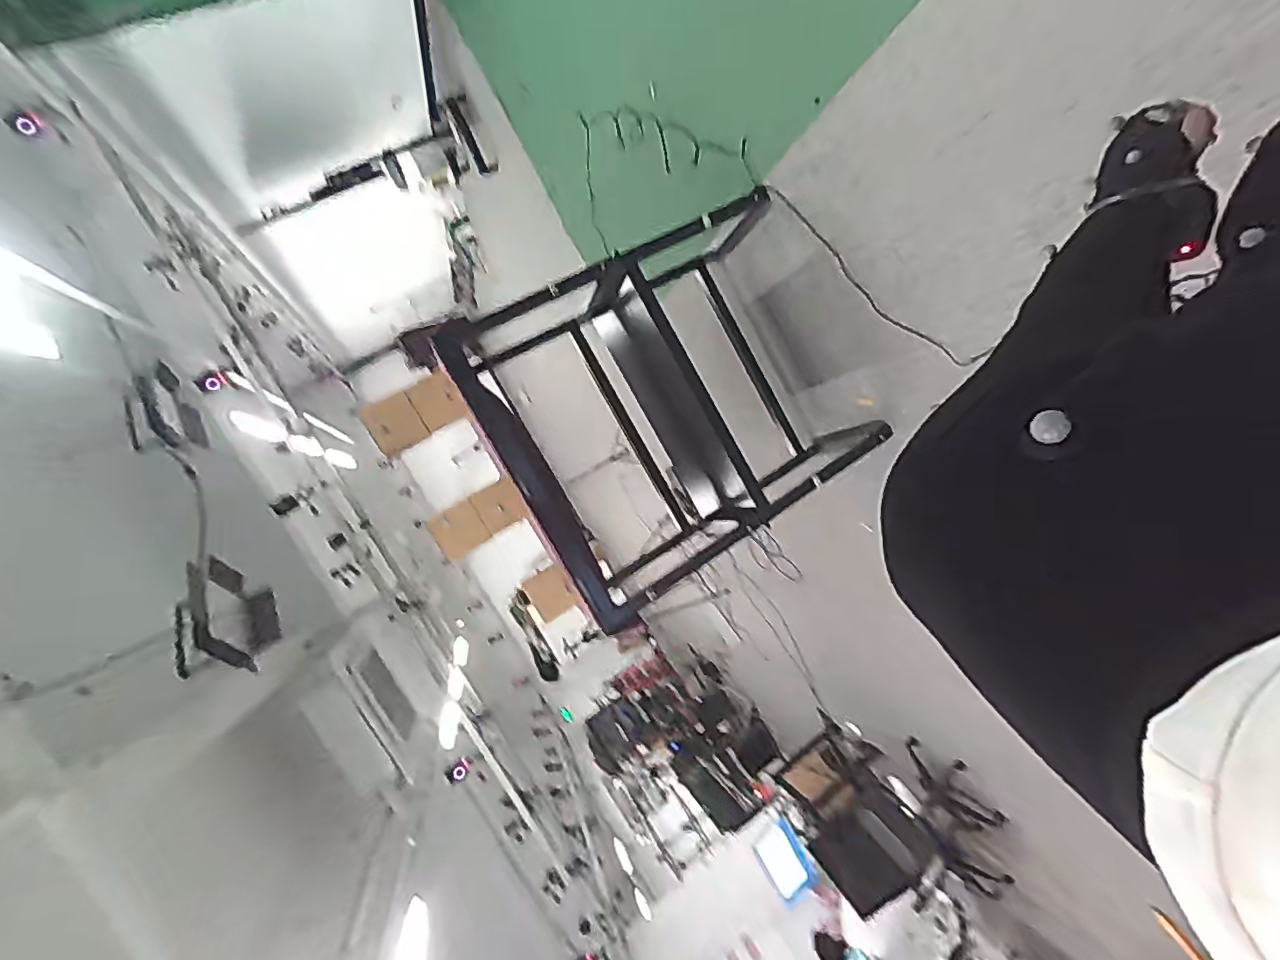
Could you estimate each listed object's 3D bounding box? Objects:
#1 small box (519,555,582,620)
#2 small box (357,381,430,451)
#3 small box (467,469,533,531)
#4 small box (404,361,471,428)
[{"bbox_3d":[-0.331,0.389,1.998,0.168,0.176,0.179,60,165,-3],"label":"small box"},{"bbox_3d":[-0.854,-0.222,1.900,0.179,0.176,0.168,61,163,-6],"label":"small box"},{"bbox_3d":[-0.513,0.068,1.980,0.179,0.176,0.168,60,166,-6],"label":"small box"},{"bbox_3d":[-0.723,-0.308,1.952,0.168,0.176,0.179,61,163,-6],"label":"small box"}]
